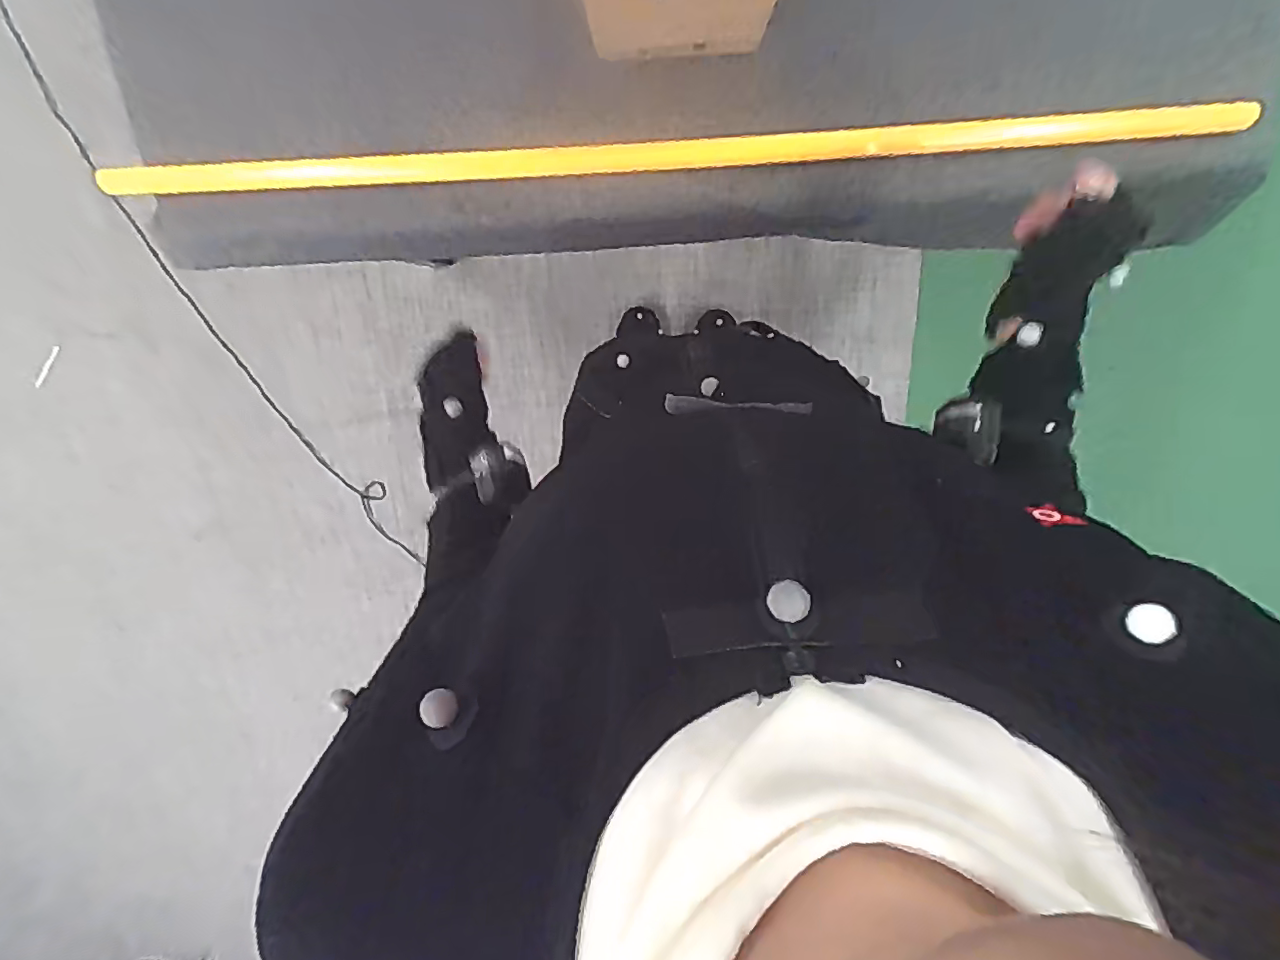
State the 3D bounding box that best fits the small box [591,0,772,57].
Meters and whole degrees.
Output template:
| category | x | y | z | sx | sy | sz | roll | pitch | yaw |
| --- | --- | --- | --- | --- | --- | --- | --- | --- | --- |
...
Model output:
| category | x | y | z | sx | sy | sz | roll | pitch | yaw |
| --- | --- | --- | --- | --- | --- | --- | --- | --- | --- |
| small box | 0.033 | -0.502 | 0.458 | 0.168 | 0.176 | 0.179 | -2 | 107 | 3 |
